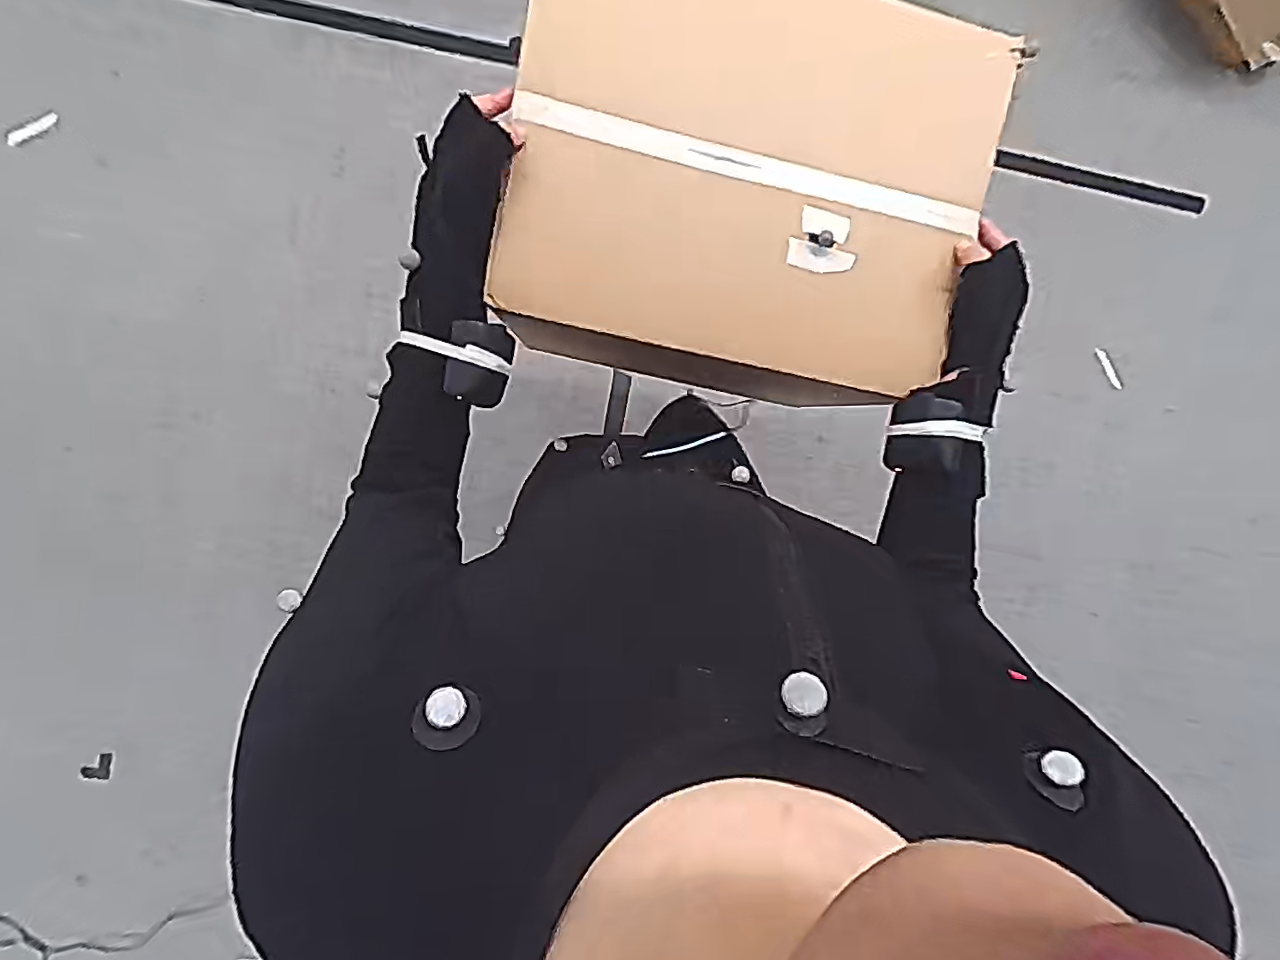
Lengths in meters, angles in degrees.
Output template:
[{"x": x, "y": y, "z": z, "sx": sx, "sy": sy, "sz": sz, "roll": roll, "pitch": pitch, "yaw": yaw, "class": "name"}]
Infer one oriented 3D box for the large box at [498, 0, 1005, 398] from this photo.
[{"x": 0.082, "y": -0.284, "z": 0.610, "sx": 0.408, "sy": 0.320, "sz": 0.320, "roll": 11, "pitch": 97, "yaw": -8, "class": "large box"}]
